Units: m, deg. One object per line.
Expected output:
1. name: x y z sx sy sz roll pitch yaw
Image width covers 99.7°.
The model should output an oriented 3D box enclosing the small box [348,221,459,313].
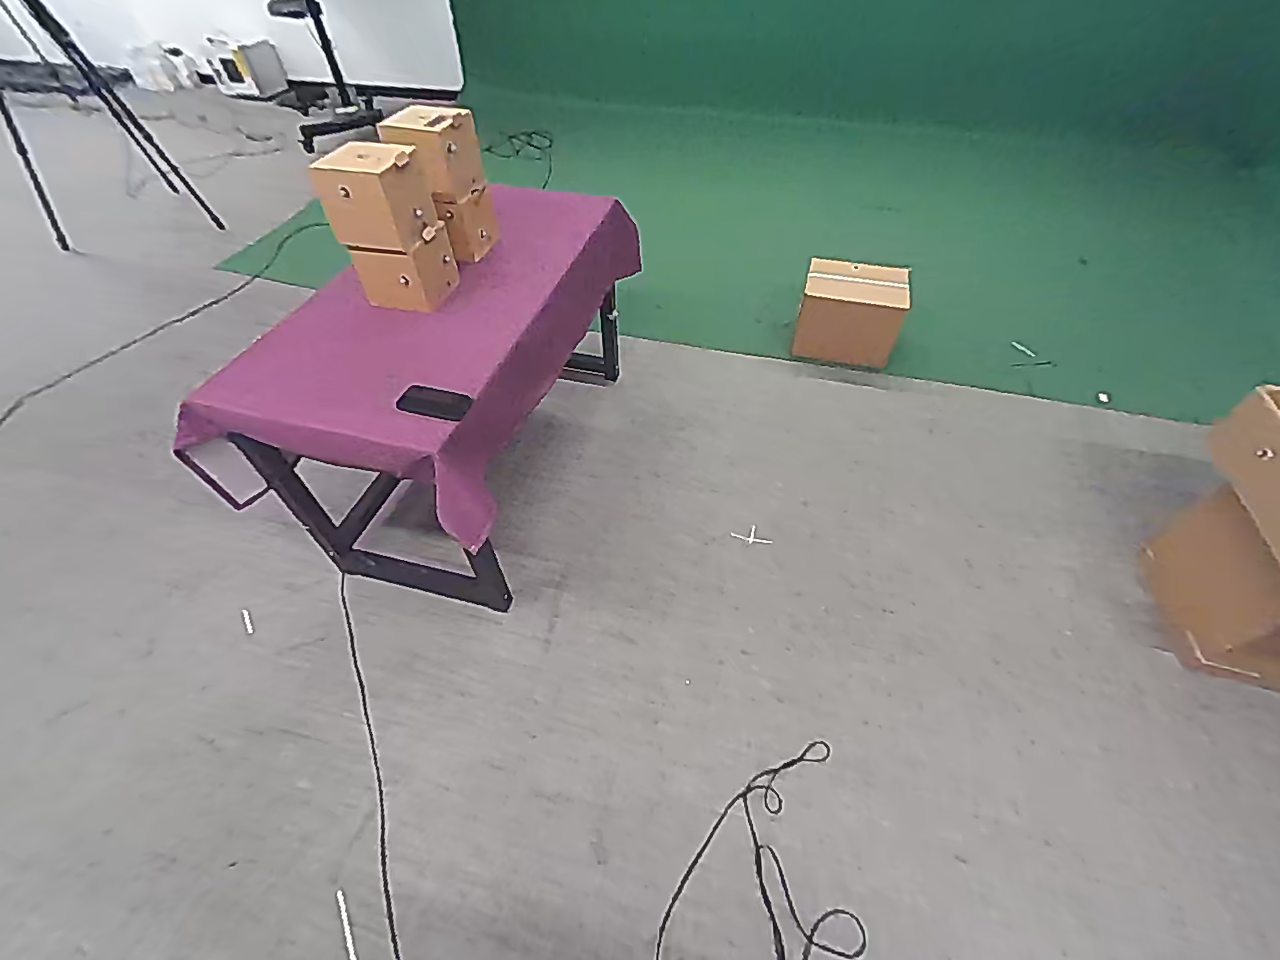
1. small box: -0.587 -0.544 1.372 0.179 0.176 0.168 10 50 10

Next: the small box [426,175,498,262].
1. small box: -0.528 -0.742 1.539 0.179 0.176 0.168 11 51 9

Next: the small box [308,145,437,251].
1. small box: -0.602 -0.646 1.242 0.179 0.176 0.168 10 50 9
